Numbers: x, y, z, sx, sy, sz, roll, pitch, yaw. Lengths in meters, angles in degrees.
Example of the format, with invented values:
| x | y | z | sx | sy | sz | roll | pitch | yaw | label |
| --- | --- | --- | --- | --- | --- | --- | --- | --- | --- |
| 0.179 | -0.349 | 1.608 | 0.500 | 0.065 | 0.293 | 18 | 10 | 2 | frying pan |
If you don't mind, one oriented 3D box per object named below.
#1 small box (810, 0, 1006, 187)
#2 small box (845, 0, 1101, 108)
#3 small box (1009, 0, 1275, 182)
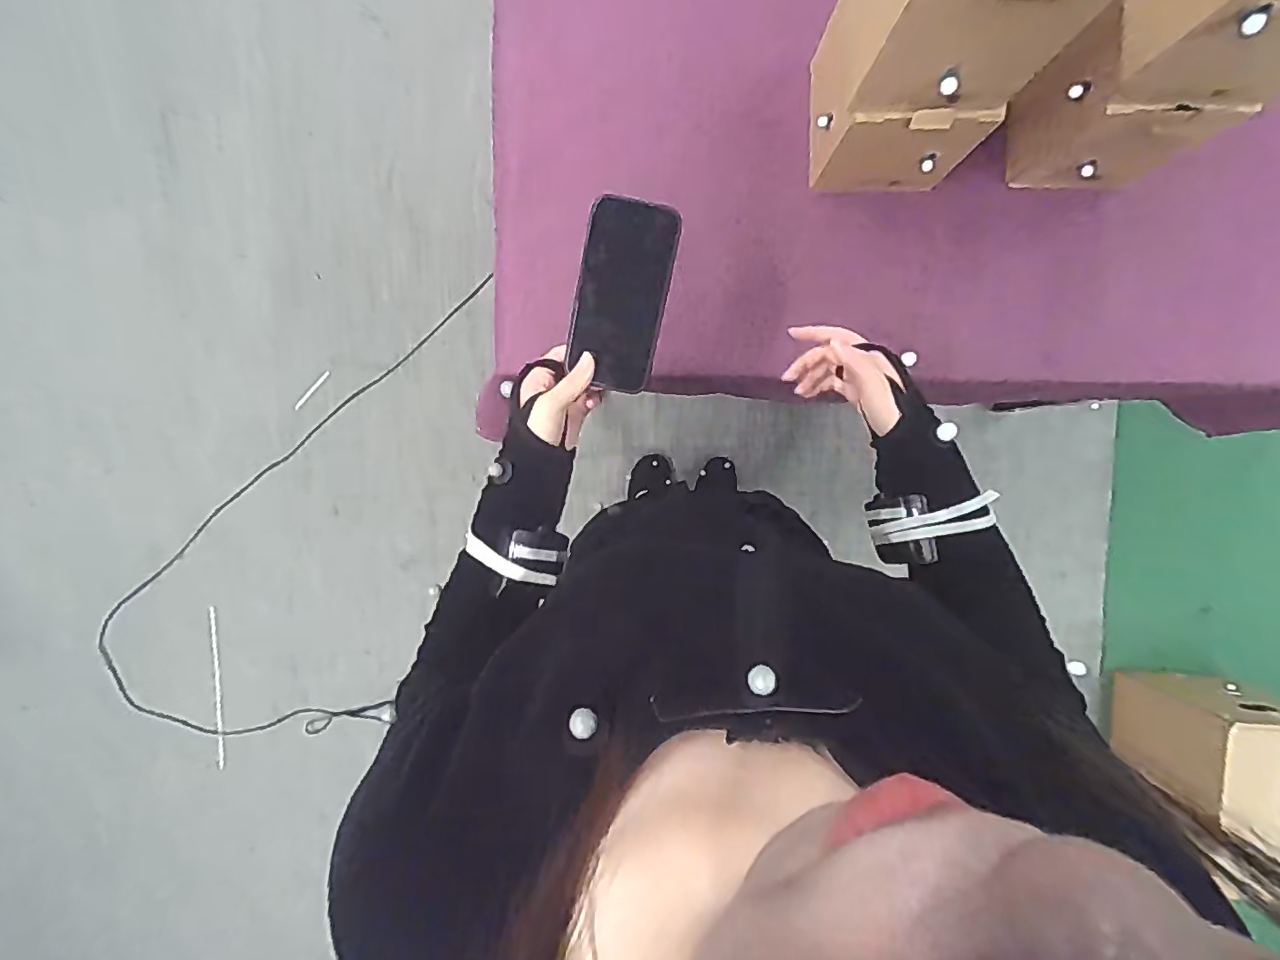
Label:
| x | y | z | sx | sy | sz | roll | pitch | yaw | label |
| --- | --- | --- | --- | --- | --- | --- | --- | --- | --- |
| 0.311 | -0.477 | 0.653 | 0.168 | 0.176 | 0.179 | 0 | 93 | 1 | small box |
| 0.295 | -0.478 | 0.488 | 0.168 | 0.176 | 0.179 | -1 | 93 | 2 | small box |
| 0.576 | -0.485 | 0.643 | 0.168 | 0.176 | 0.179 | 0 | 94 | 2 | small box |
